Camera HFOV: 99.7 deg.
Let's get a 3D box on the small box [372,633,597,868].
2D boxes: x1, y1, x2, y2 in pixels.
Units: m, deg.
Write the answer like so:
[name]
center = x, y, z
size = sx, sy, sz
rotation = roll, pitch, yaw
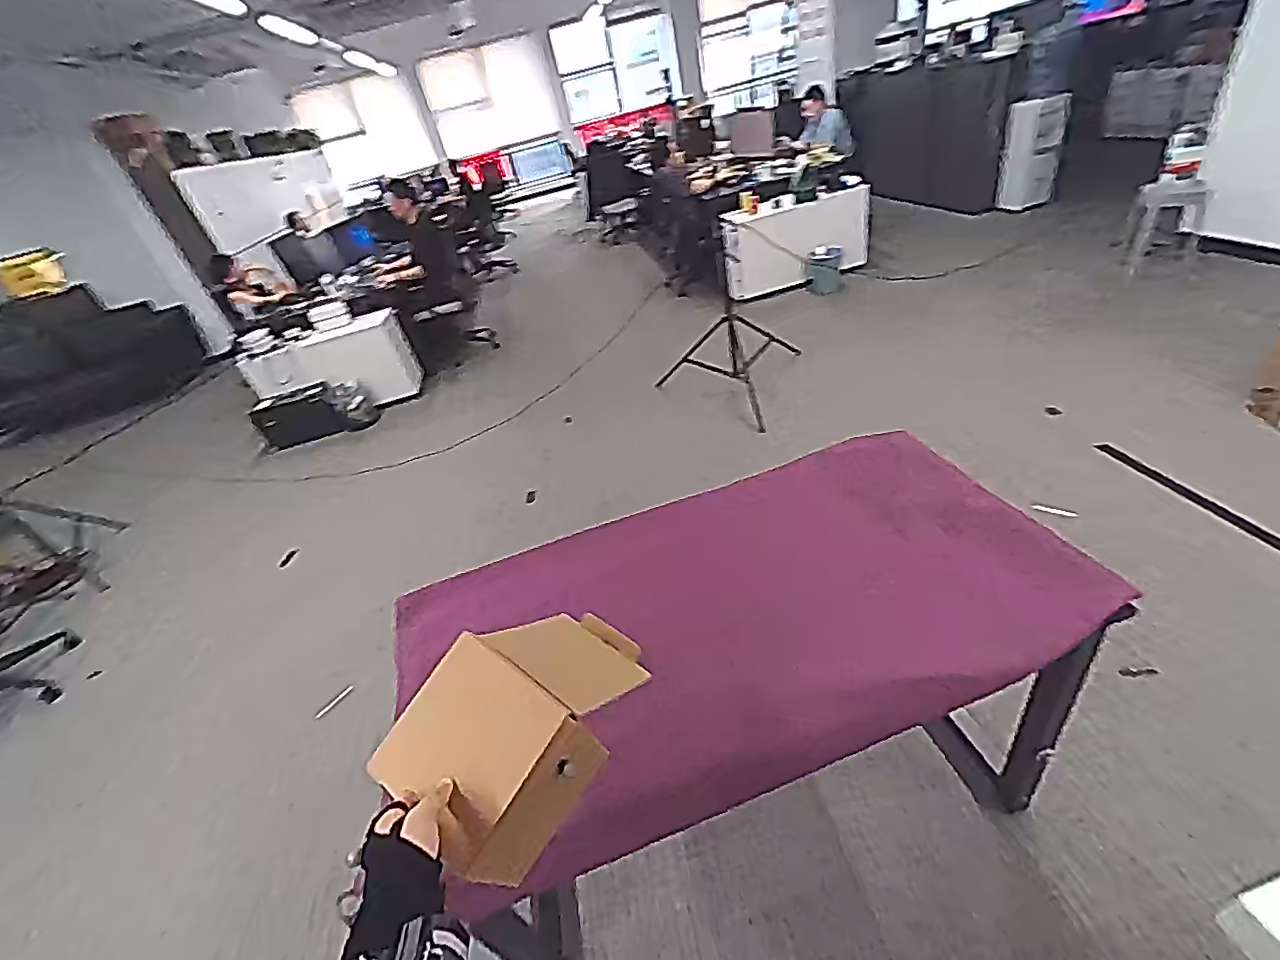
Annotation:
[small box]
center = -0.169, 0.324, 0.650
size = 0.168, 0.176, 0.179
rotation = 26, 61, 28
